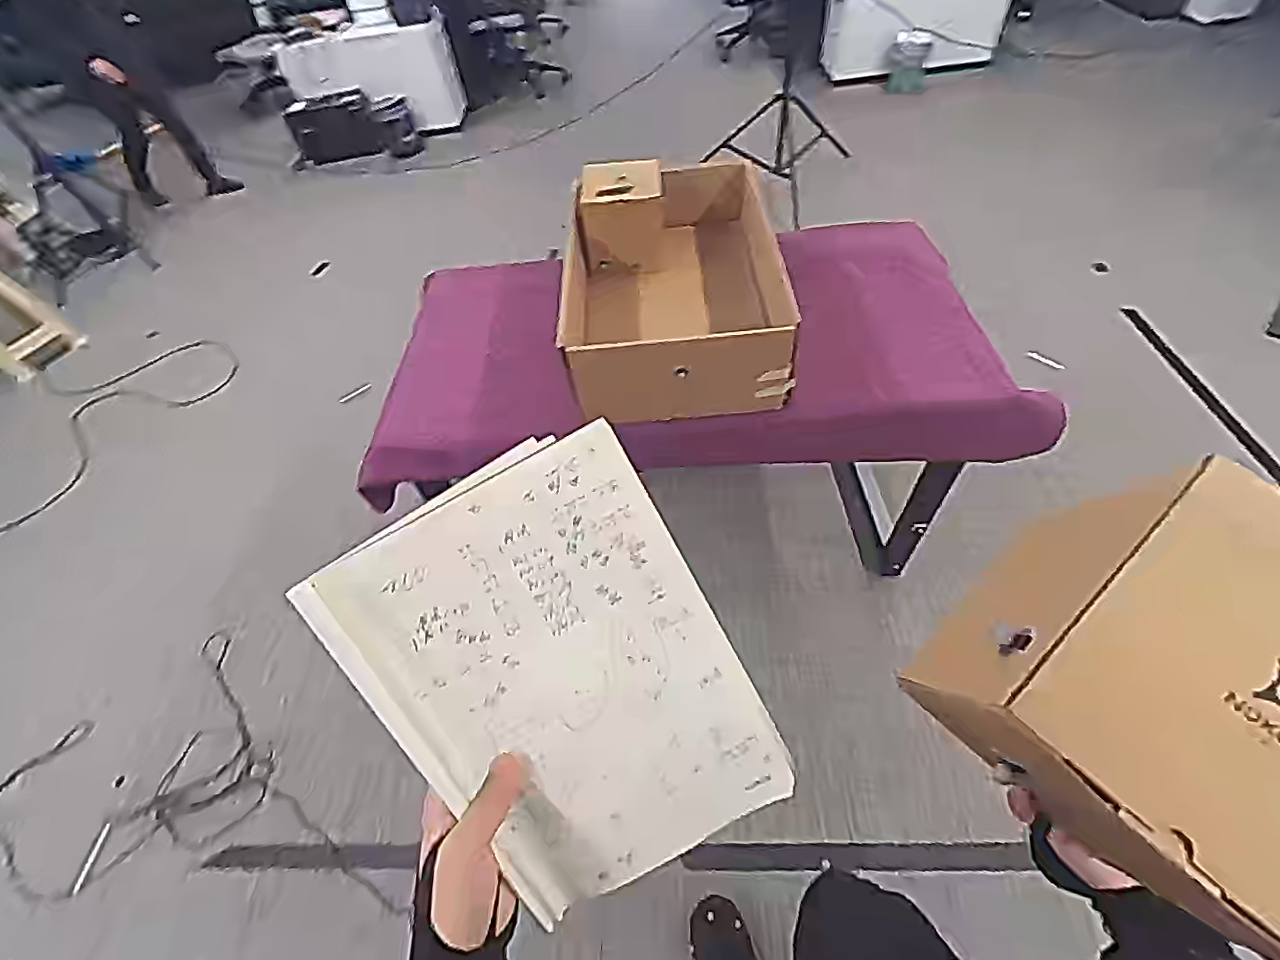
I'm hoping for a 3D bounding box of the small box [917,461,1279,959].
[{"bbox_3d":[0.303,0.122,0.318,0.168,0.176,0.179,43,85,16],"label":"small box"}]
